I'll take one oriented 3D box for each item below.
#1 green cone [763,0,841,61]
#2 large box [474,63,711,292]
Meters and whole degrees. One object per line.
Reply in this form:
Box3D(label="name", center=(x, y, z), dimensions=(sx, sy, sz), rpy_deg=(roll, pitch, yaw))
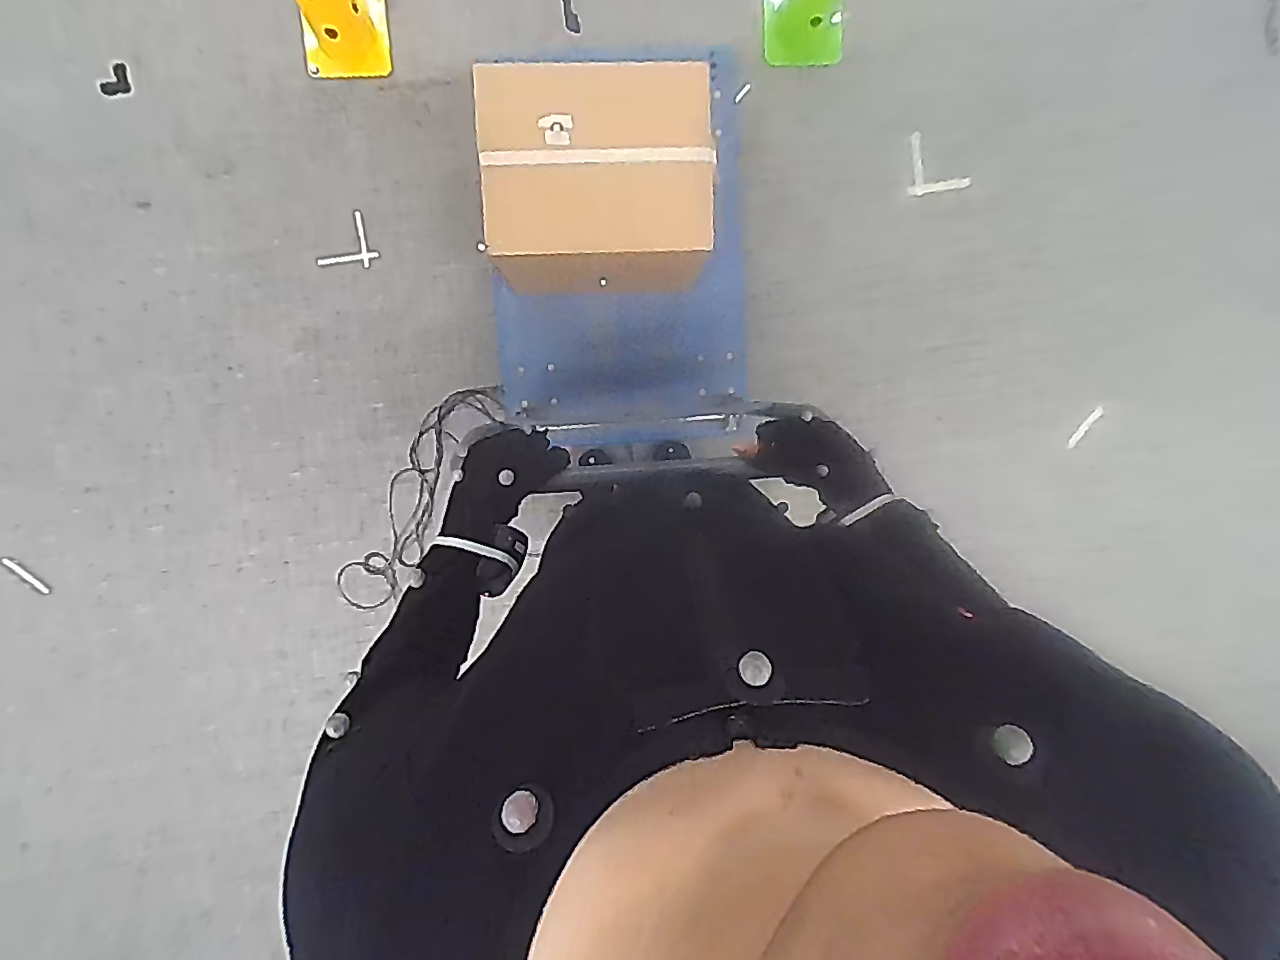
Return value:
Box3D(label="green cone", center=(0.424, -1.151, 1.199), dimensions=(0.202, 0.368, 0.200), rpy_deg=(-4, 96, -4))
Box3D(label="large box", center=(-0.081, -0.574, 1.090), dimensions=(0.408, 0.320, 0.320), rpy_deg=(-3, 96, -2))
